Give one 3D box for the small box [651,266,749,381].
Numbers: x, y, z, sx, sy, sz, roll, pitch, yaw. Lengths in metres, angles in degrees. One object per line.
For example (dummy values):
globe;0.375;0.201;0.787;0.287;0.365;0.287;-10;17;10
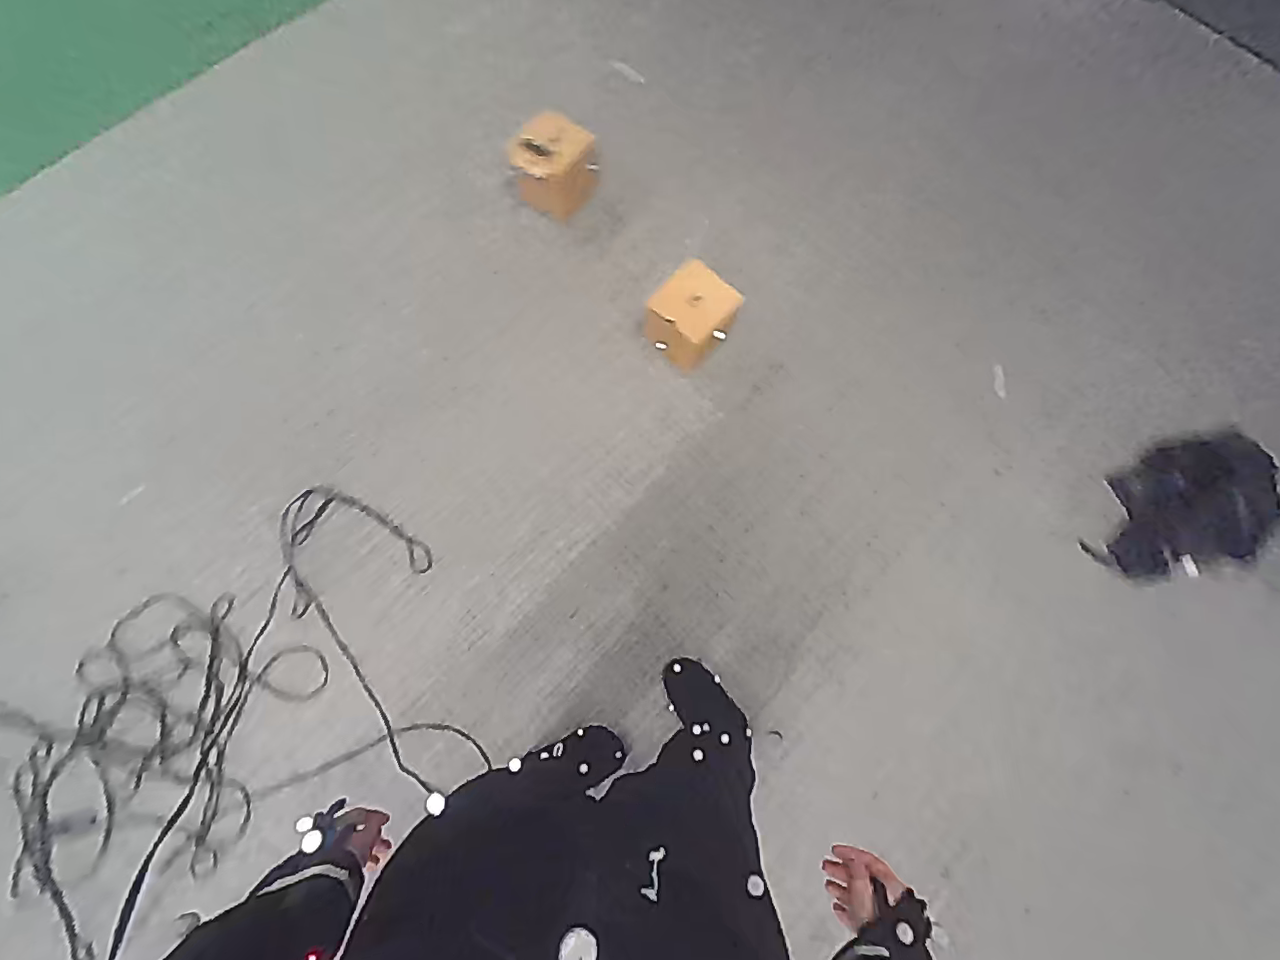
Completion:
small box;0.139;-0.385;1.349;0.168;0.176;0.179;43;78;10
